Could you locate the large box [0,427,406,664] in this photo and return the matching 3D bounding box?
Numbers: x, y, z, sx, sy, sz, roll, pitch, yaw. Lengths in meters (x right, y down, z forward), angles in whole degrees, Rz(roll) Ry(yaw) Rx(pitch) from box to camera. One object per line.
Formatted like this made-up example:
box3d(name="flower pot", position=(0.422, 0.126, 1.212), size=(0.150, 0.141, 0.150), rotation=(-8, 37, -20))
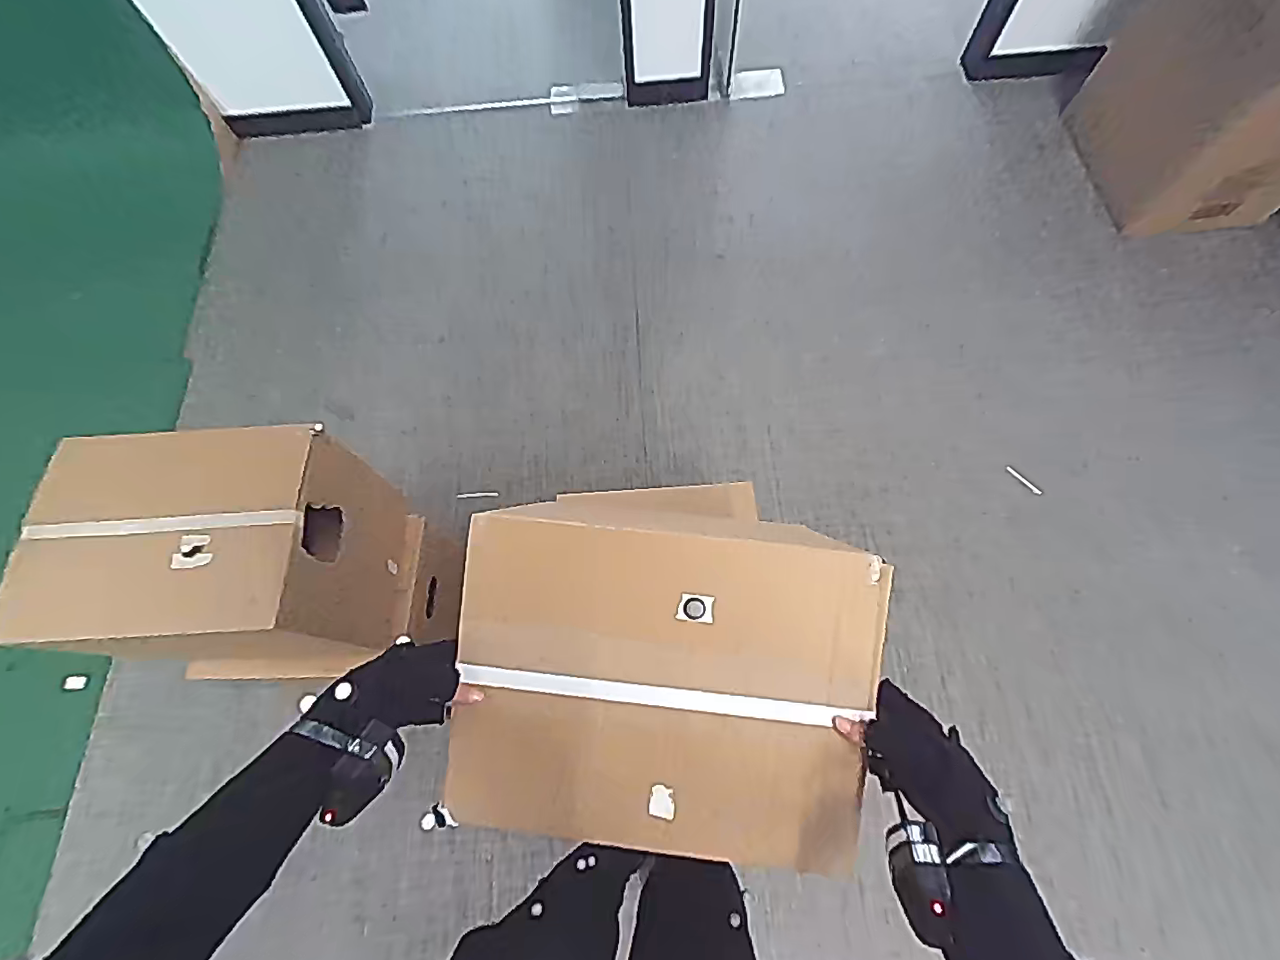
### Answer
box3d(name="large box", position=(-0.676, 0.127, 0.919), size=(0.408, 0.320, 0.320), rotation=(-2, 66, 0))
